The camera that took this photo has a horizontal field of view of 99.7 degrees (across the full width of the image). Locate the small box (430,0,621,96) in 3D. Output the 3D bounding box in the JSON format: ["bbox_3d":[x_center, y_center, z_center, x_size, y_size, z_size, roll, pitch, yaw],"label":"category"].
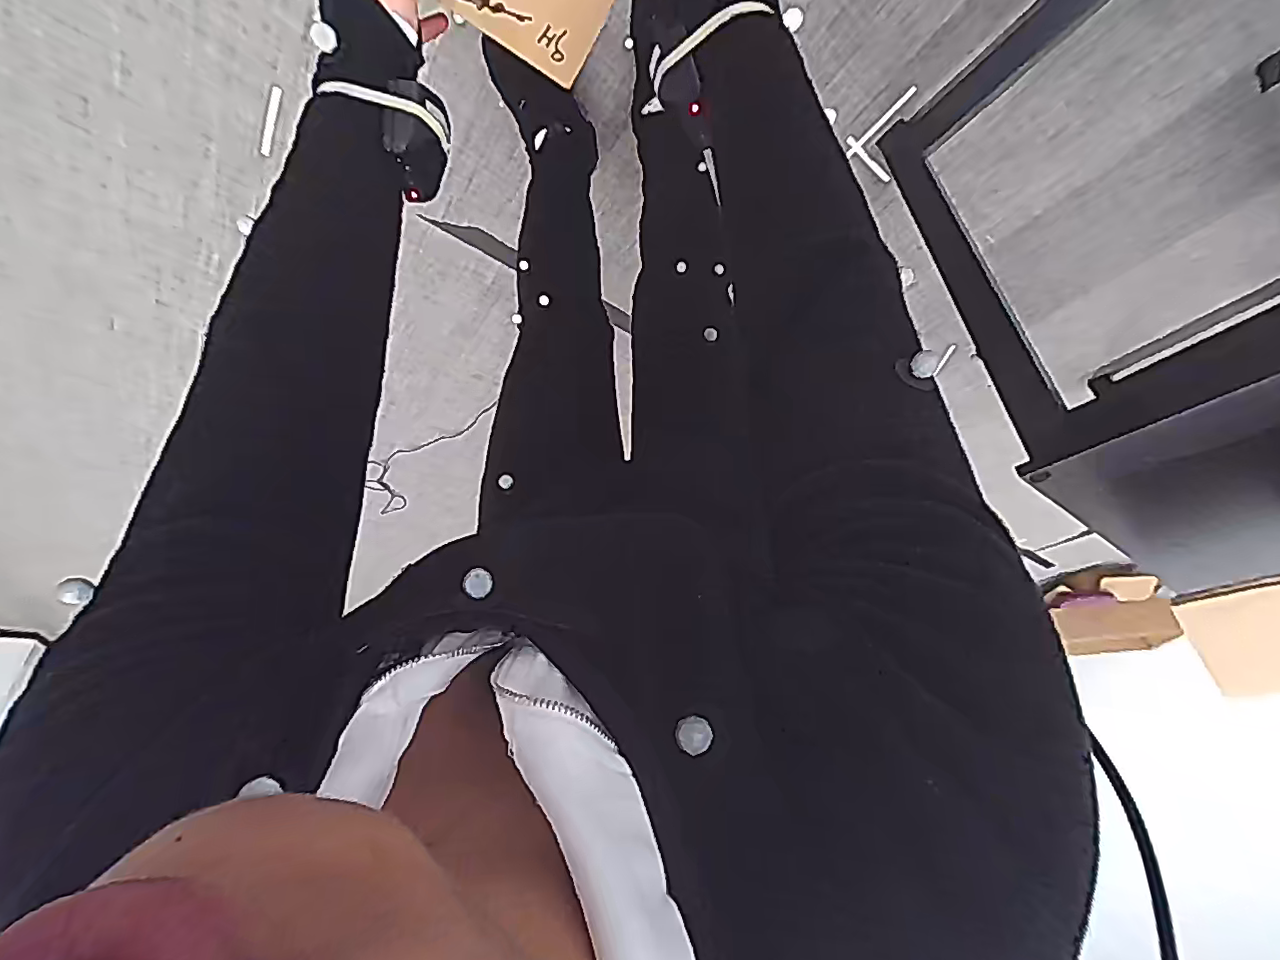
[{"bbox_3d":[-0.085,-0.478,0.437,0.168,0.176,0.179,18,142,-29],"label":"small box"}]
